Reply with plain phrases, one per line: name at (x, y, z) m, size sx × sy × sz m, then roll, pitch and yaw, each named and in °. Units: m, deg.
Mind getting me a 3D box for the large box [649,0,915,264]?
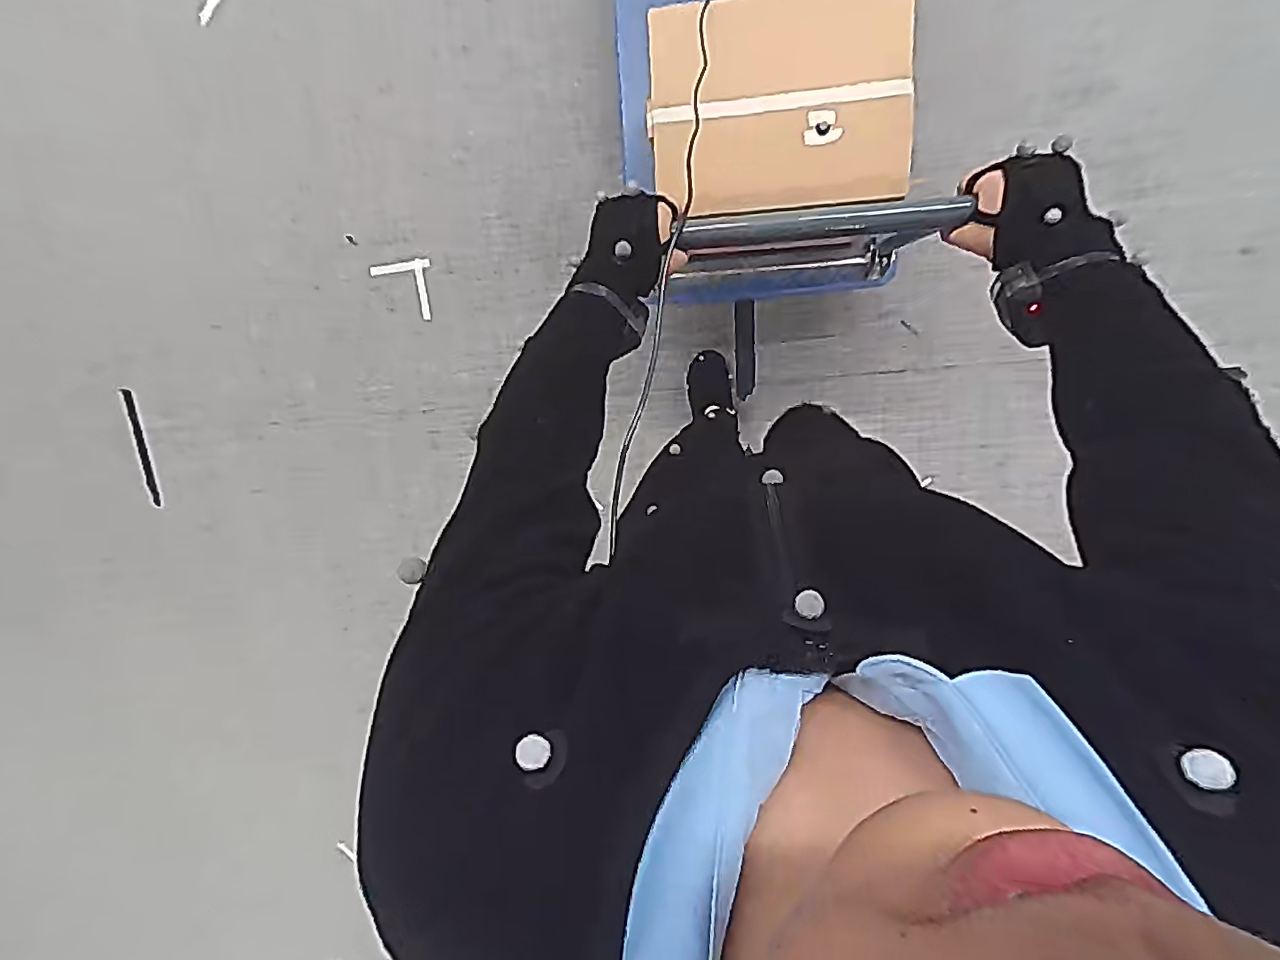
large box at (0.235, -0.606, 0.995) m, size 0.408 × 0.320 × 0.320 m, roll -2°, pitch 102°, yaw 6°
